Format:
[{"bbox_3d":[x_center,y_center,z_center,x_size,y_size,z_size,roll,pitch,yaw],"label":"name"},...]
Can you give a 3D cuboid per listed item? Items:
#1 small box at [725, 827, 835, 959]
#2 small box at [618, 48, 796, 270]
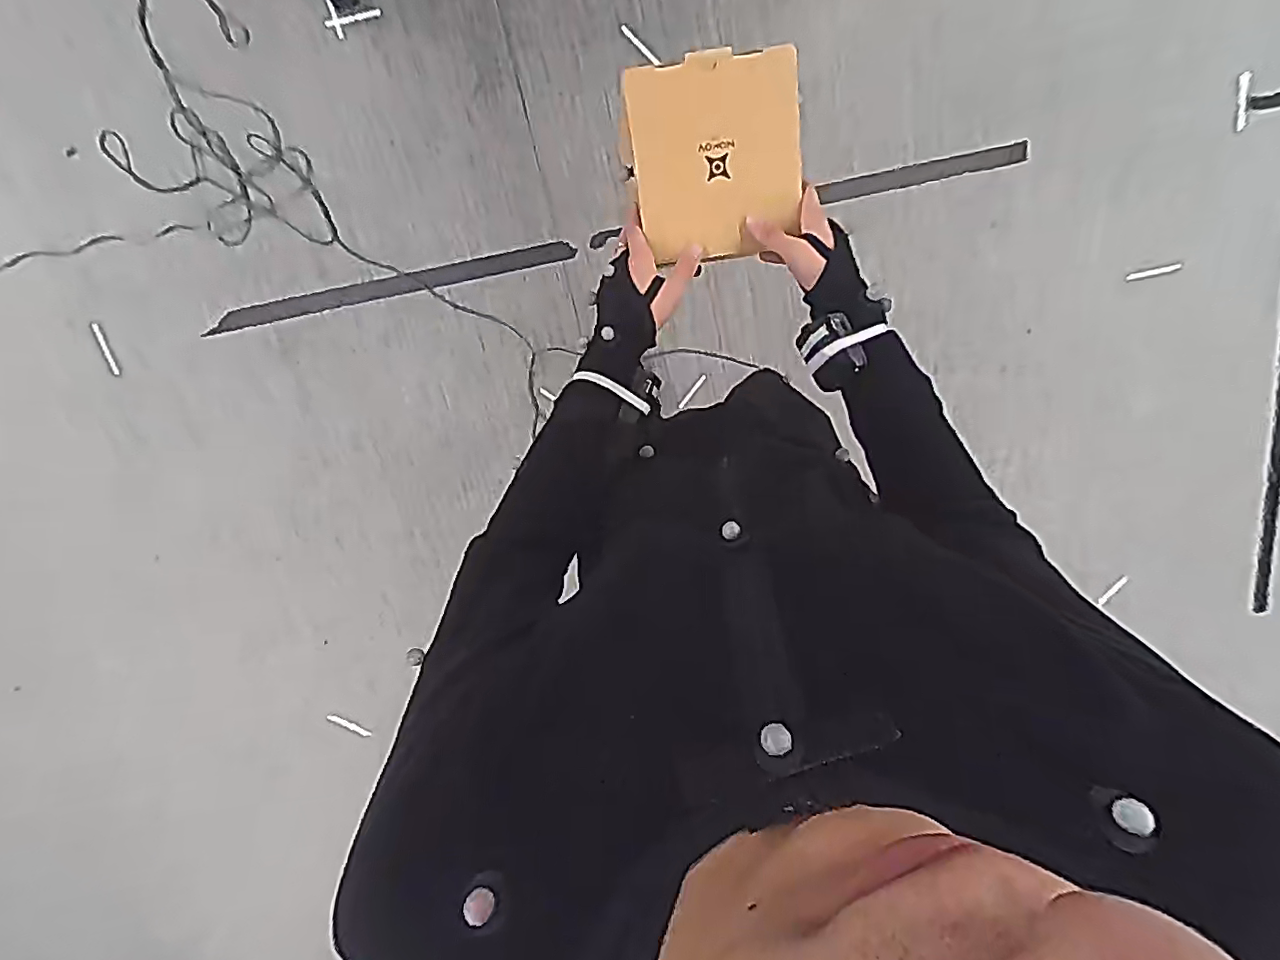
[{"bbox_3d":[0.305,0.916,1.203,0.179,0.176,0.168,-17,105,2],"label":"small box"},{"bbox_3d":[0.069,-0.339,0.610,0.168,0.176,0.179,-8,107,0],"label":"small box"}]
